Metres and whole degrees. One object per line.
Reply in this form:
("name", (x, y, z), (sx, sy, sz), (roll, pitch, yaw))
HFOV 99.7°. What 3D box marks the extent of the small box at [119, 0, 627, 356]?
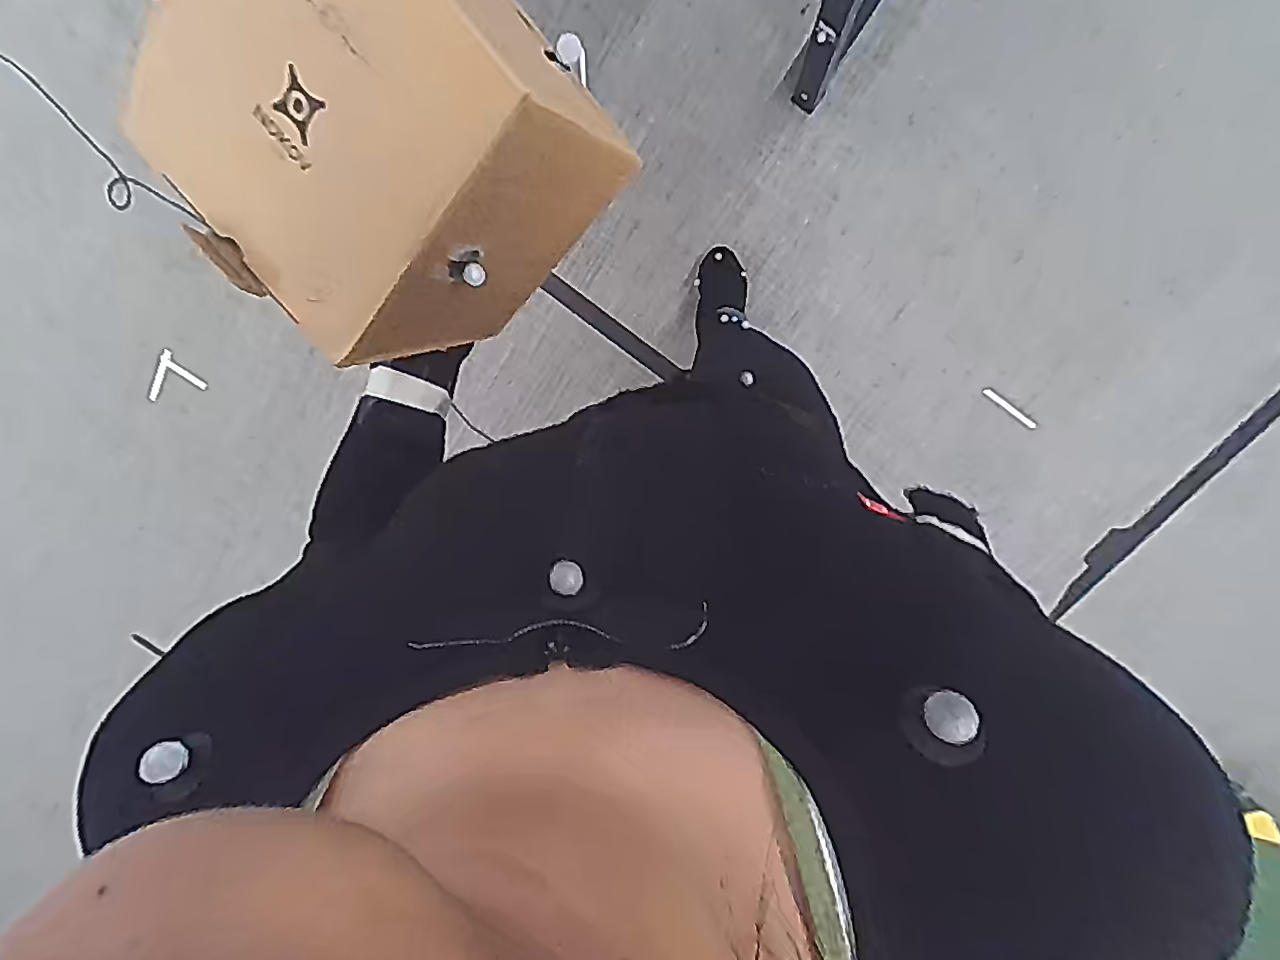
("small box", (-0.137, -0.201, 0.319), (0.179, 0.176, 0.168), (-37, 96, 29))
